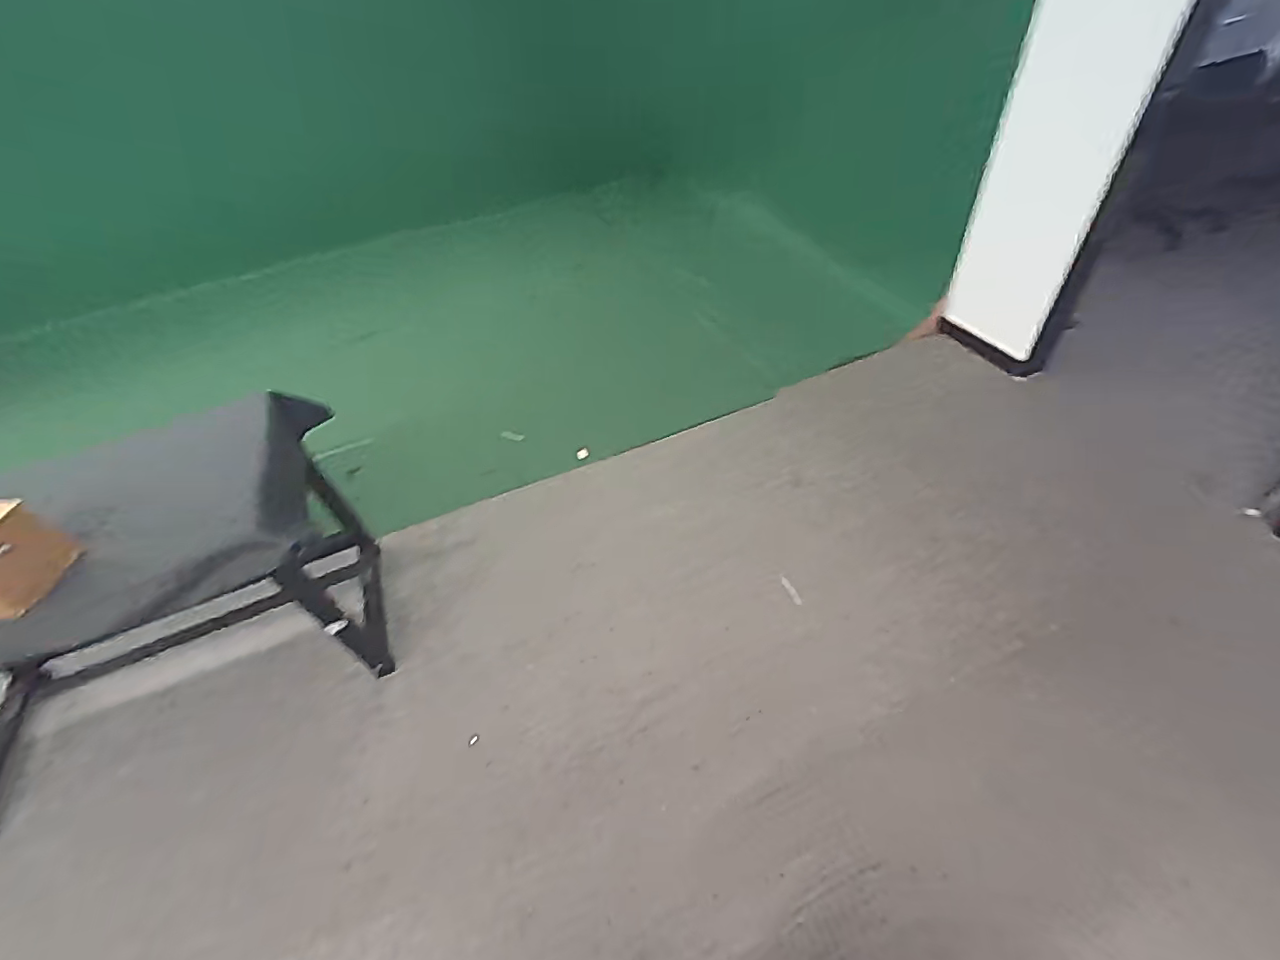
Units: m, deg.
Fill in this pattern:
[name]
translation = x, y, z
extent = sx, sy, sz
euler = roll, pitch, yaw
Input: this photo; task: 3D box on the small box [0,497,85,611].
[small box]
translation = -1.325, 0.155, 1.108
extent = 0.168, 0.176, 0.179
euler = -1, 45, 6
